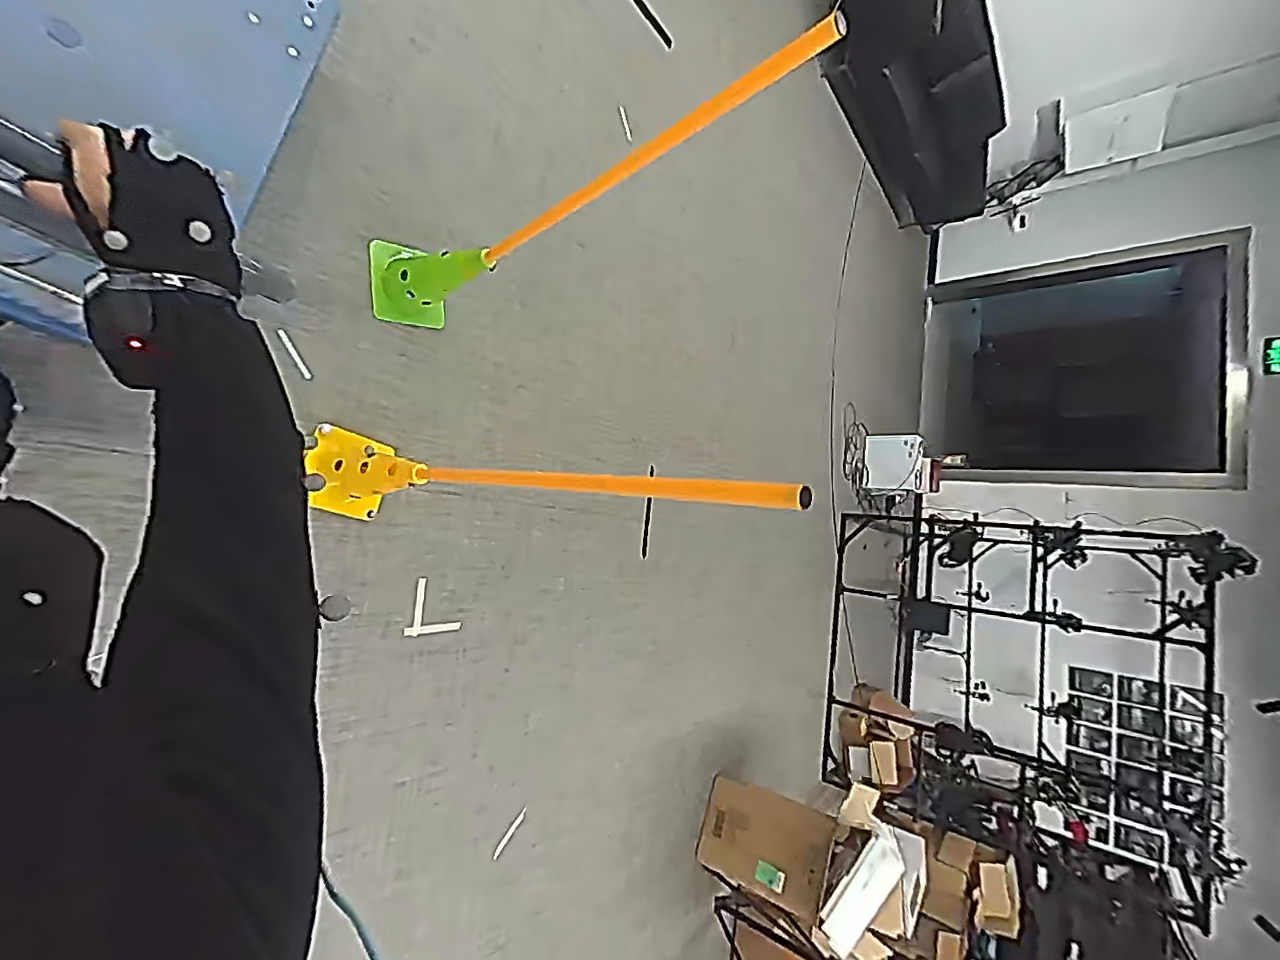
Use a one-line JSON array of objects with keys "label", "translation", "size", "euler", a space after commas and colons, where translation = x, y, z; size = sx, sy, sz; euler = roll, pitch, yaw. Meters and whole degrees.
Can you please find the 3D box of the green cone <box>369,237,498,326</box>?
[{"label": "green cone", "translation": [-0.477, -0.509, 1.318], "size": [0.200, 0.368, 0.202], "euler": [-8, 99, -51]}]
